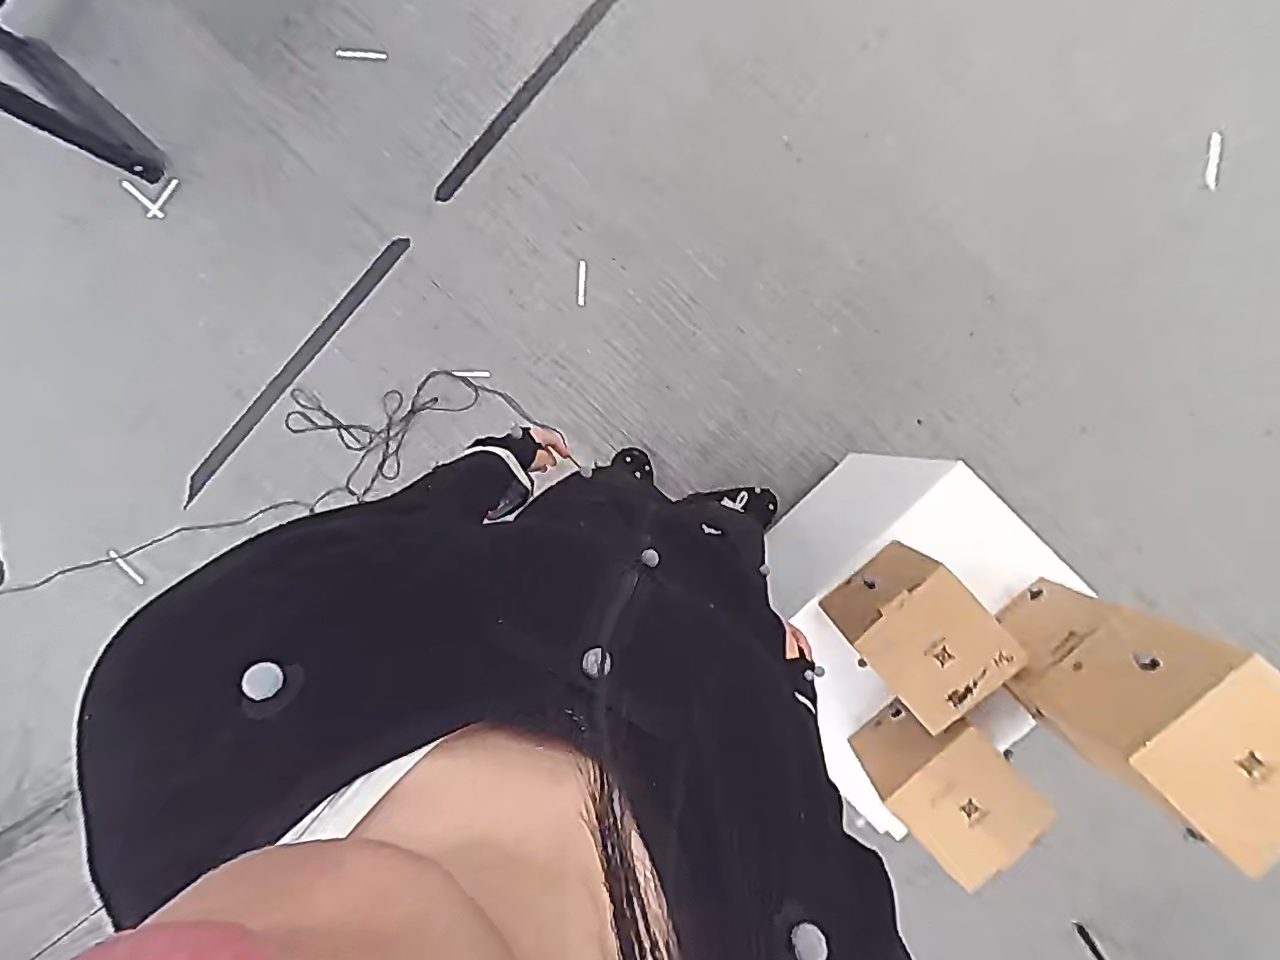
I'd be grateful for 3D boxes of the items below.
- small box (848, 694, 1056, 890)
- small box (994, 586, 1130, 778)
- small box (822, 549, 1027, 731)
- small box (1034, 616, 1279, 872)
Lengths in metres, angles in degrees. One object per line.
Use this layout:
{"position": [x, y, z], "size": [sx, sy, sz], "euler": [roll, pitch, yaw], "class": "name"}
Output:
{"position": [0.451, 0.442, 0.814], "size": [0.168, 0.176, 0.179], "euler": [-44, 89, 4], "class": "small box"}
{"position": [0.627, 0.275, 0.786], "size": [0.168, 0.176, 0.179], "euler": [-44, 90, 7], "class": "small box"}
{"position": [0.401, 0.218, 0.799], "size": [0.168, 0.176, 0.179], "euler": [-42, 90, 6], "class": "small box"}
{"position": [0.619, 0.280, 0.624], "size": [0.179, 0.176, 0.168], "euler": [44, 97, 1], "class": "small box"}
